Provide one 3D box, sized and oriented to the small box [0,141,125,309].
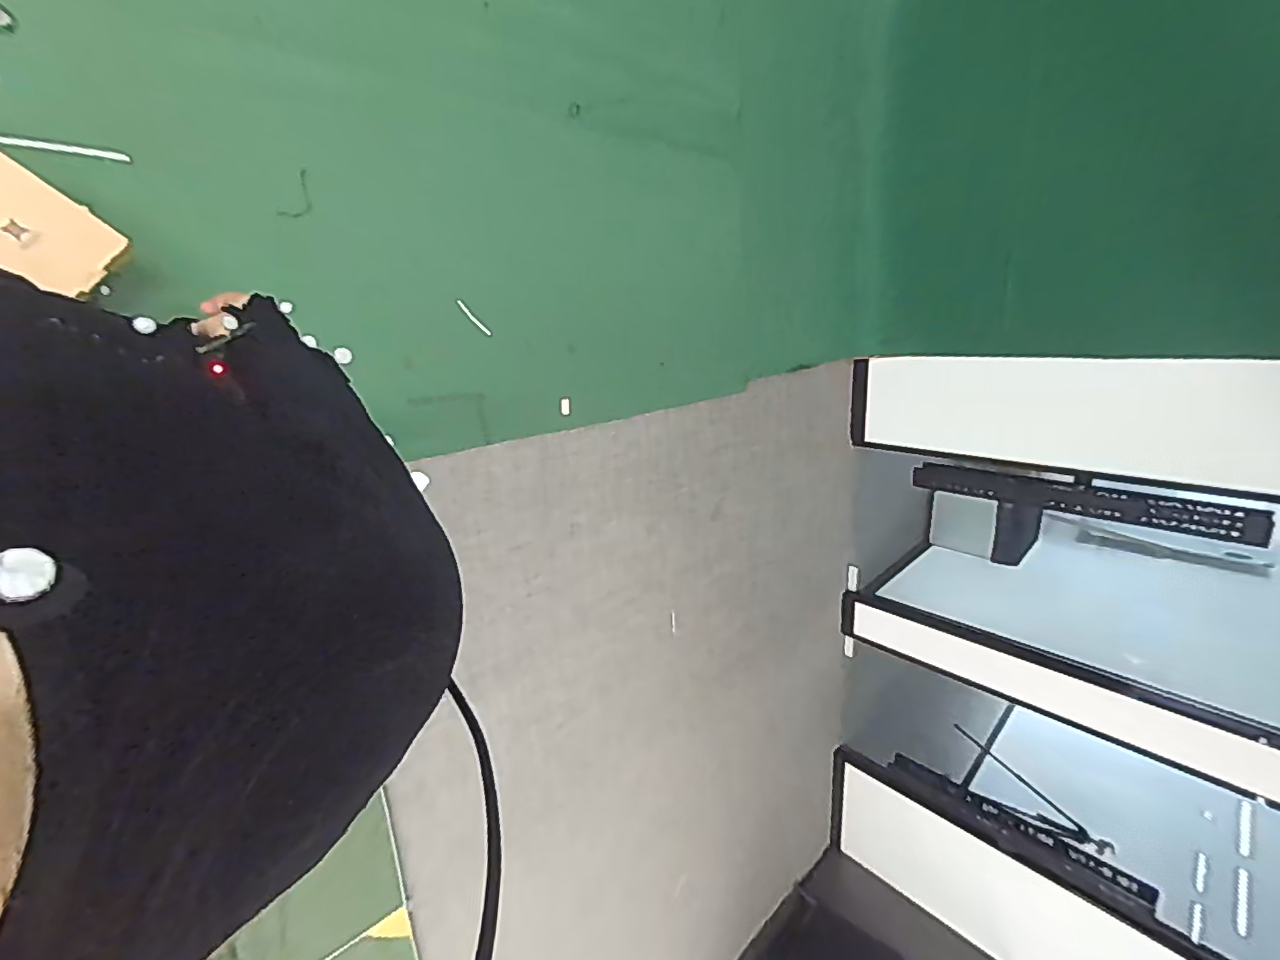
[{"bbox_3d":[-0.950,-0.385,0.829,0.179,0.176,0.168,44,70,-42],"label":"small box"}]
